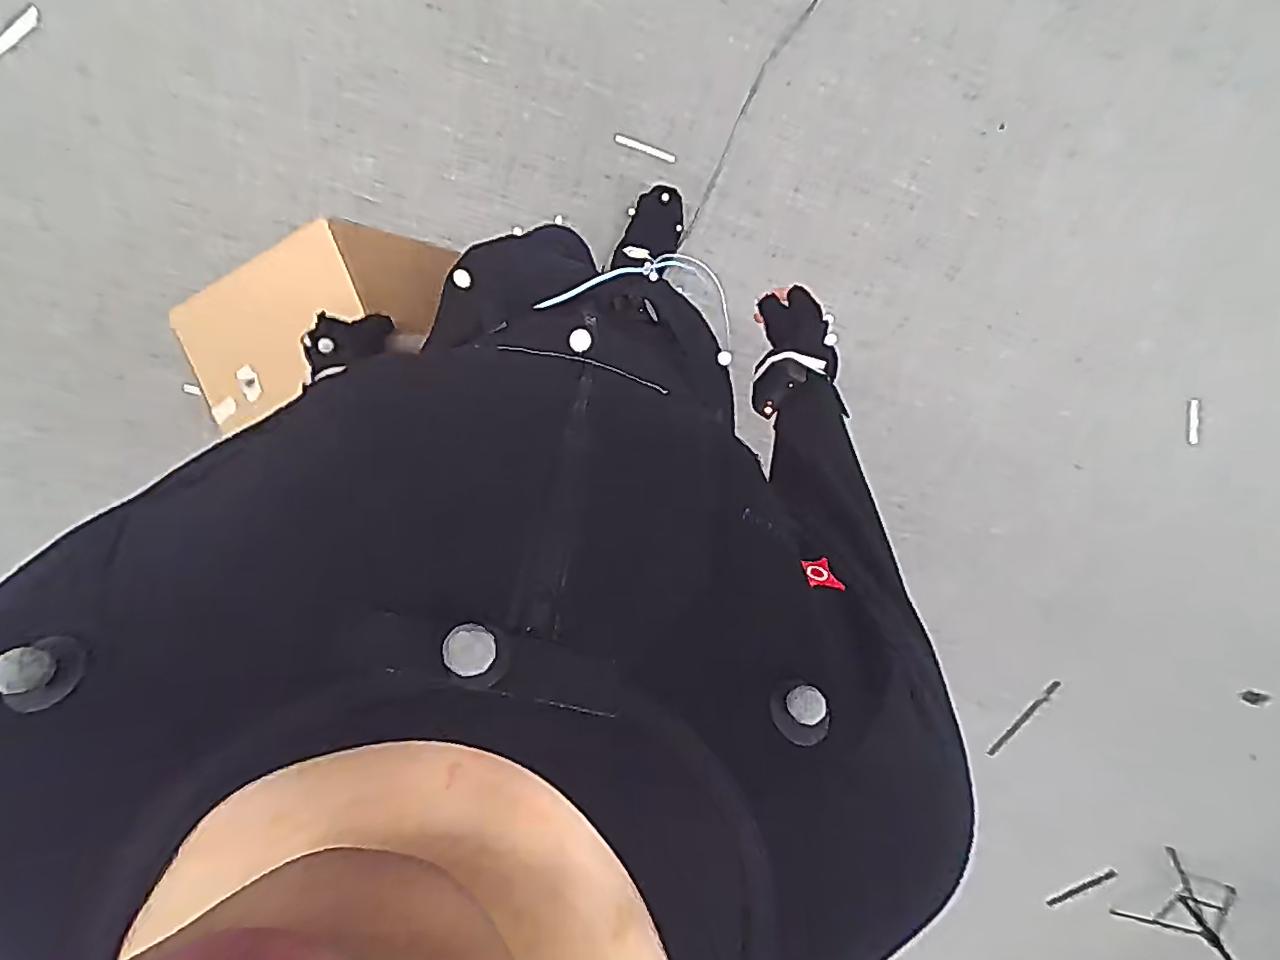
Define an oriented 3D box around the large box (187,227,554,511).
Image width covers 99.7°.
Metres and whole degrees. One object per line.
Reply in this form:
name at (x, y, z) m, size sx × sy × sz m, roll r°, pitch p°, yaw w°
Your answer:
large box at (-0.405, -0.180, 0.913) m, size 0.320 × 0.408 × 0.320 m, roll -16°, pitch 100°, yaw 18°
